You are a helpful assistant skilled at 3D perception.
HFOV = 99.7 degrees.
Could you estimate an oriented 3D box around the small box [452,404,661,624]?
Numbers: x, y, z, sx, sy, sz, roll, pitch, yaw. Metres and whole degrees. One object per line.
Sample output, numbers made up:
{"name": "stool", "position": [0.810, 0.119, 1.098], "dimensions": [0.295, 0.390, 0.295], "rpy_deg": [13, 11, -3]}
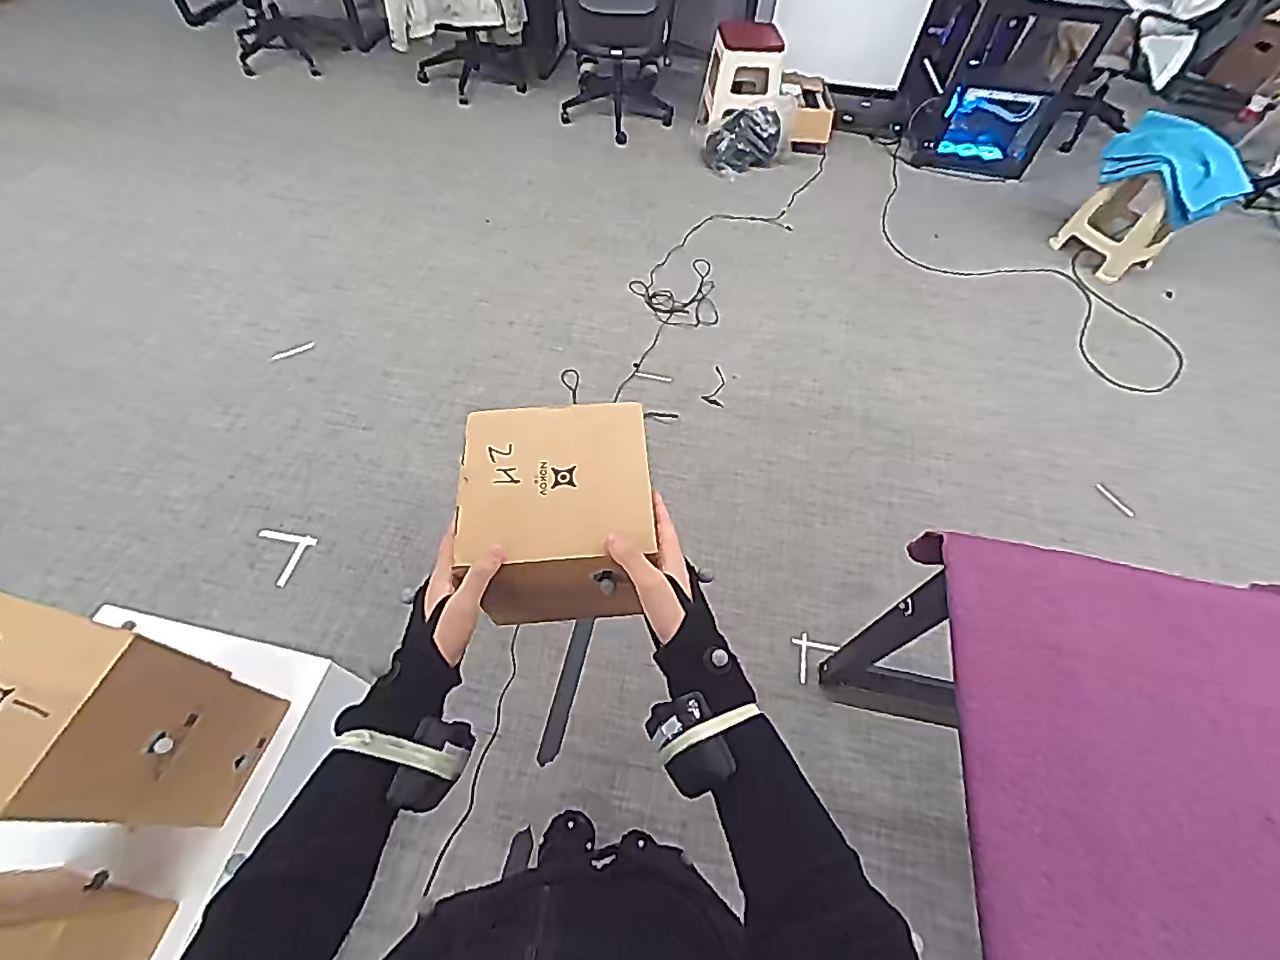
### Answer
{"name": "small box", "position": [-0.074, 0.041, 0.557], "dimensions": [0.179, 0.176, 0.168], "rpy_deg": [-4, 57, -2]}

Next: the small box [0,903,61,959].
{"name": "small box", "position": [-0.657, 0.443, 0.432], "dimensions": [0.179, 0.176, 0.168], "rpy_deg": [10, 57, 4]}

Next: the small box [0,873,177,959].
{"name": "small box", "position": [-0.666, 0.532, 0.567], "dimensions": [0.179, 0.176, 0.168], "rpy_deg": [11, 58, 6]}

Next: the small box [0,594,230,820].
{"name": "small box", "position": [-0.596, 0.242, 0.564], "dimensions": [0.179, 0.176, 0.168], "rpy_deg": [14, 58, 5]}
